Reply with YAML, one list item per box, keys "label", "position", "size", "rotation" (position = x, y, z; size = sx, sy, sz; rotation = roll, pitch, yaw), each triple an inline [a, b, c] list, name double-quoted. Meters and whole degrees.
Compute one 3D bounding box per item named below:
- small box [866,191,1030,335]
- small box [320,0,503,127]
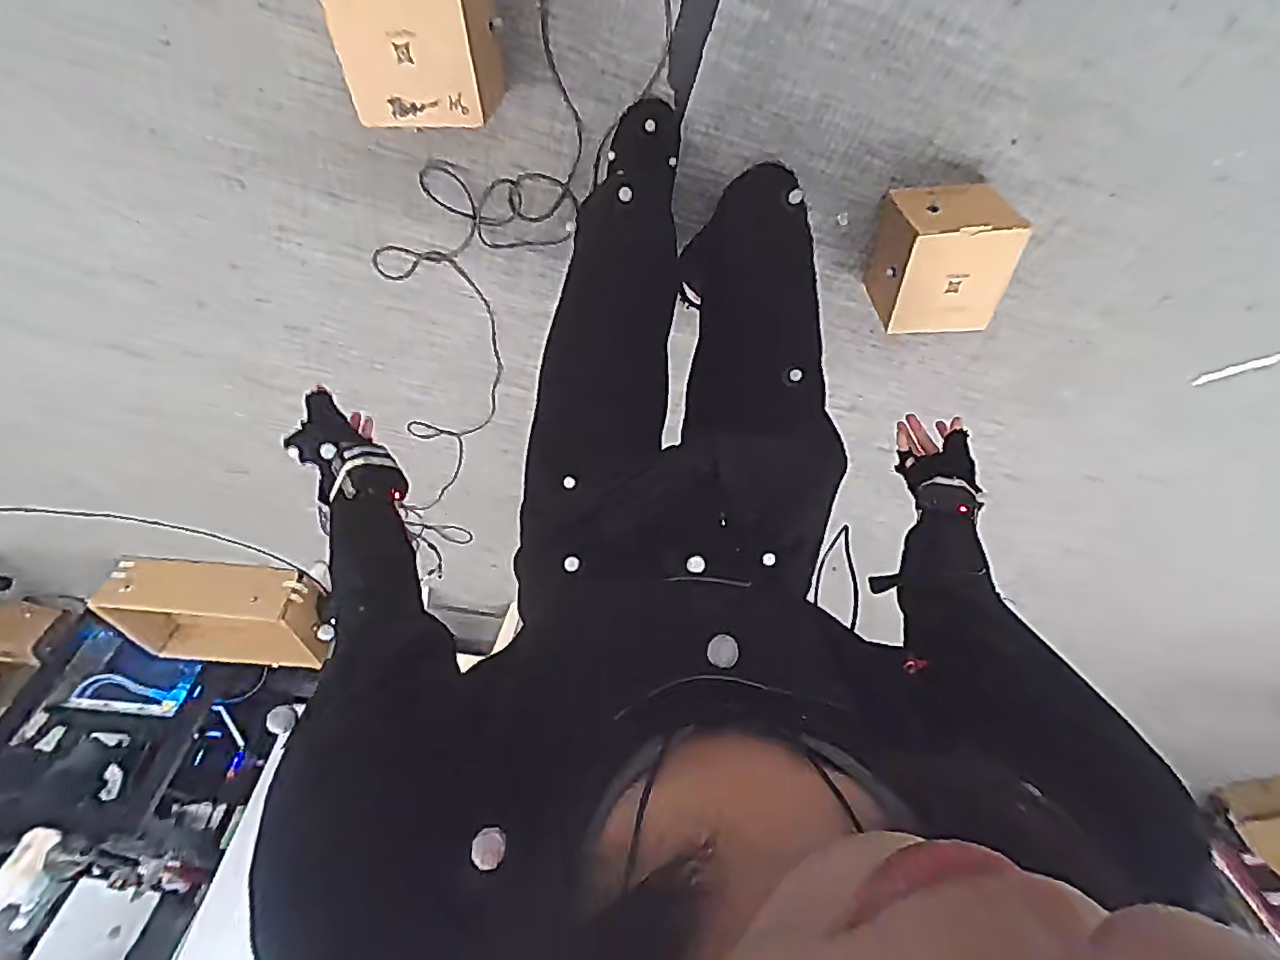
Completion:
- label: "small box"
  position: [0.496, -0.366, 0.906]
  size: [0.168, 0.176, 0.179]
  rotation: [-1, 139, 5]
- label: "small box"
  position: [-0.284, -0.579, 0.697]
  size: [0.168, 0.176, 0.179]
  rotation: [1, 137, 0]
